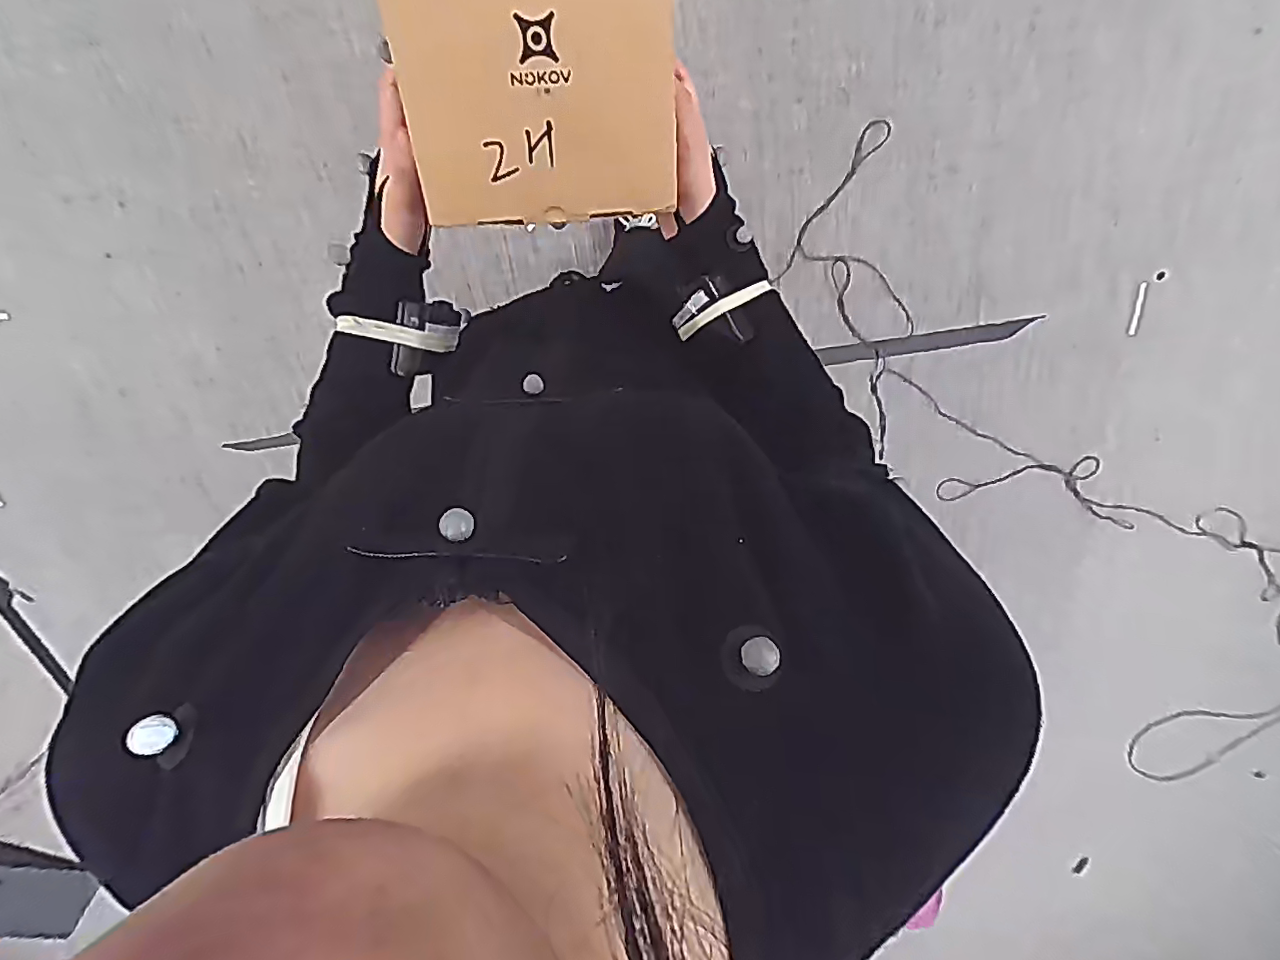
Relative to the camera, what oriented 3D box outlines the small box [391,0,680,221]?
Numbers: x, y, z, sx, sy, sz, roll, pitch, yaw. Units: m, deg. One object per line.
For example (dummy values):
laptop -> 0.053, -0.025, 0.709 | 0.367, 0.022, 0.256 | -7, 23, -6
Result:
small box -> -0.068, -0.291, 0.387 | 0.168, 0.176, 0.179 | -6, 121, -5
